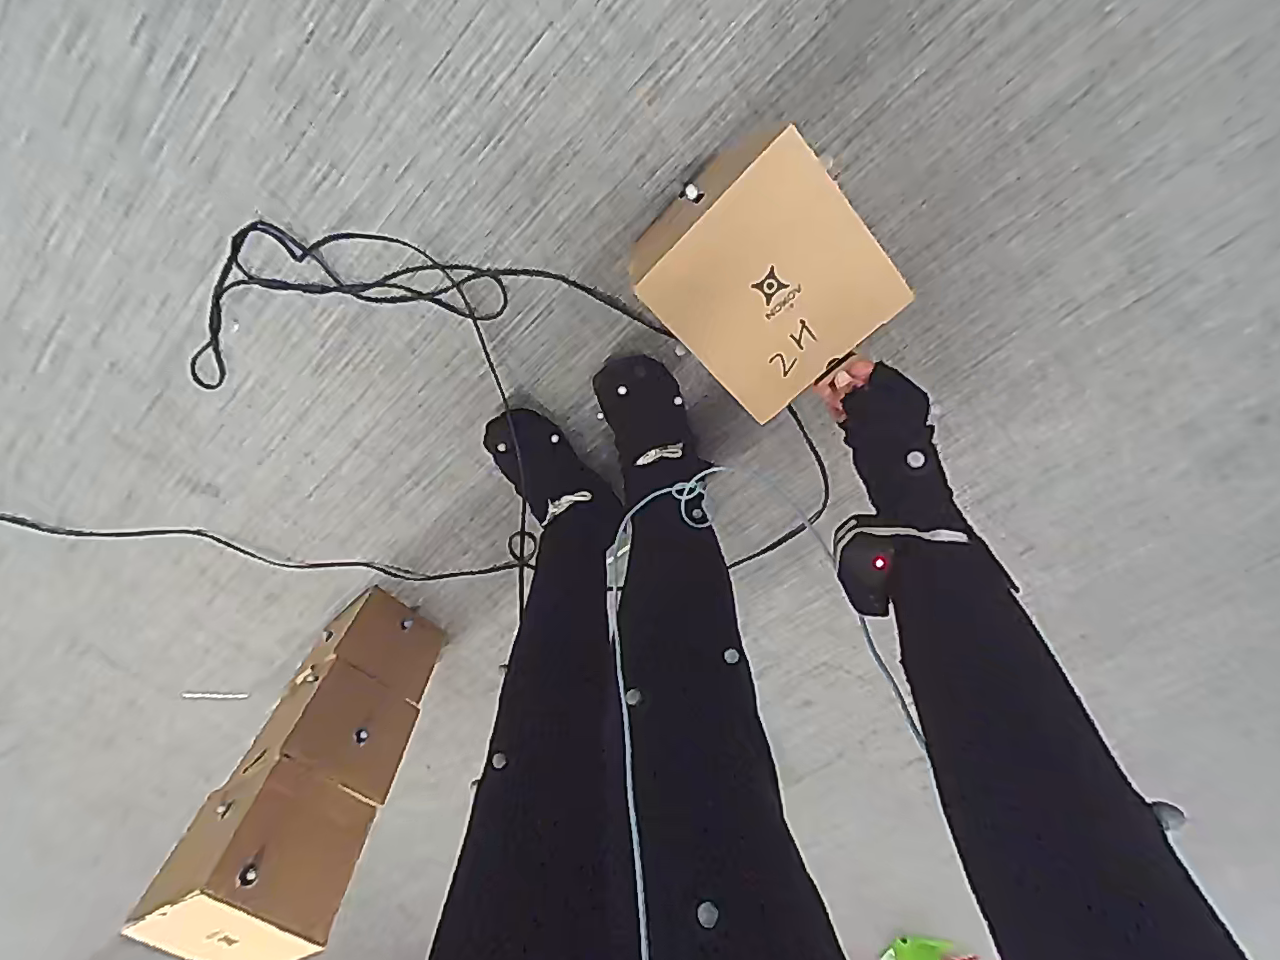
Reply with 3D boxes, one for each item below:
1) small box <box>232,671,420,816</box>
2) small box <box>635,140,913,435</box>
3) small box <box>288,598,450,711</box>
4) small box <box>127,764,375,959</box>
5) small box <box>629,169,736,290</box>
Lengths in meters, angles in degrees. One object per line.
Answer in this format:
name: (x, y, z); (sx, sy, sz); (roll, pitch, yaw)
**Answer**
small box: (-0.494, 0.436, 0.867); (0.168, 0.176, 0.179); (-36, 115, 19)
small box: (0.110, -0.181, 0.514); (0.168, 0.176, 0.179); (-40, 112, 20)
small box: (-0.494, 0.346, 1.008); (0.168, 0.176, 0.179); (-38, 112, 23)
small box: (-0.501, 0.521, 0.729); (0.168, 0.176, 0.179); (-31, 115, 17)
small box: (0.105, -0.254, 0.662); (0.168, 0.176, 0.179); (-41, 112, 20)
